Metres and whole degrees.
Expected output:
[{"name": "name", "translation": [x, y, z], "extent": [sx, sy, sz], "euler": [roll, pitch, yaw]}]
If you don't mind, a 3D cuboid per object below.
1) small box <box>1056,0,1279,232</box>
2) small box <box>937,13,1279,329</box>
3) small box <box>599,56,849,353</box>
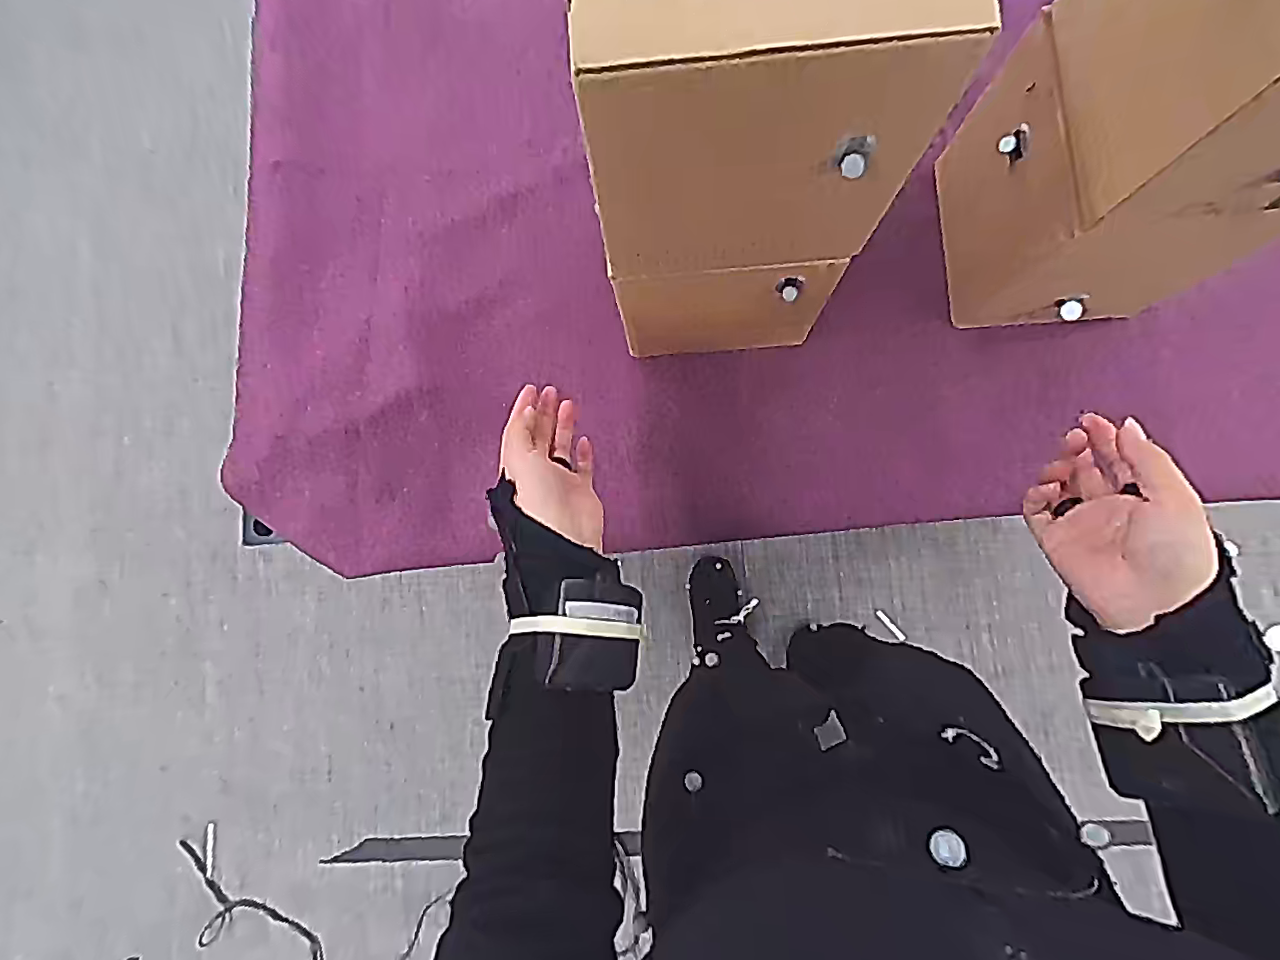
[{"name": "small box", "translation": [0.370, -0.267, 0.296], "extent": [0.168, 0.176, 0.179], "euler": [-3, 83, 4]}, {"name": "small box", "translation": [0.376, -0.247, 0.460], "extent": [0.168, 0.176, 0.179], "euler": [-2, 83, 4]}, {"name": "small box", "translation": [0.064, -0.222, 0.479], "extent": [0.179, 0.176, 0.168], "euler": [-4, 82, 3]}]
